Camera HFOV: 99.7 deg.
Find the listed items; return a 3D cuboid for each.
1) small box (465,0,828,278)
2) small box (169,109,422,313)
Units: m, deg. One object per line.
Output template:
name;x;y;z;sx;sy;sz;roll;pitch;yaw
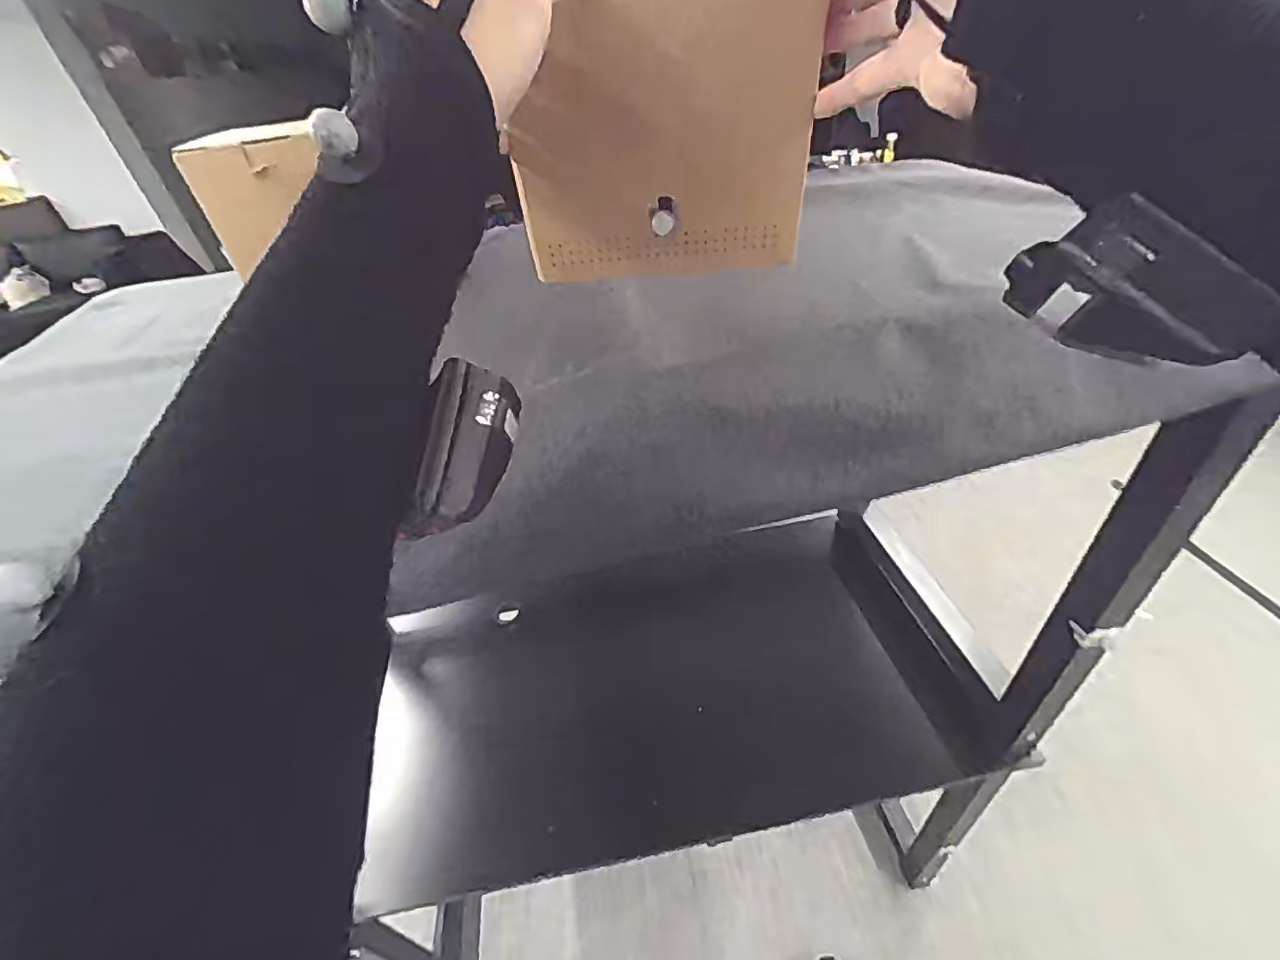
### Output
small box;0.005;-0.251;0.351;0.179;0.176;0.168;-4;49;2
small box;-0.361;-0.302;0.614;0.168;0.176;0.179;-13;39;-7
